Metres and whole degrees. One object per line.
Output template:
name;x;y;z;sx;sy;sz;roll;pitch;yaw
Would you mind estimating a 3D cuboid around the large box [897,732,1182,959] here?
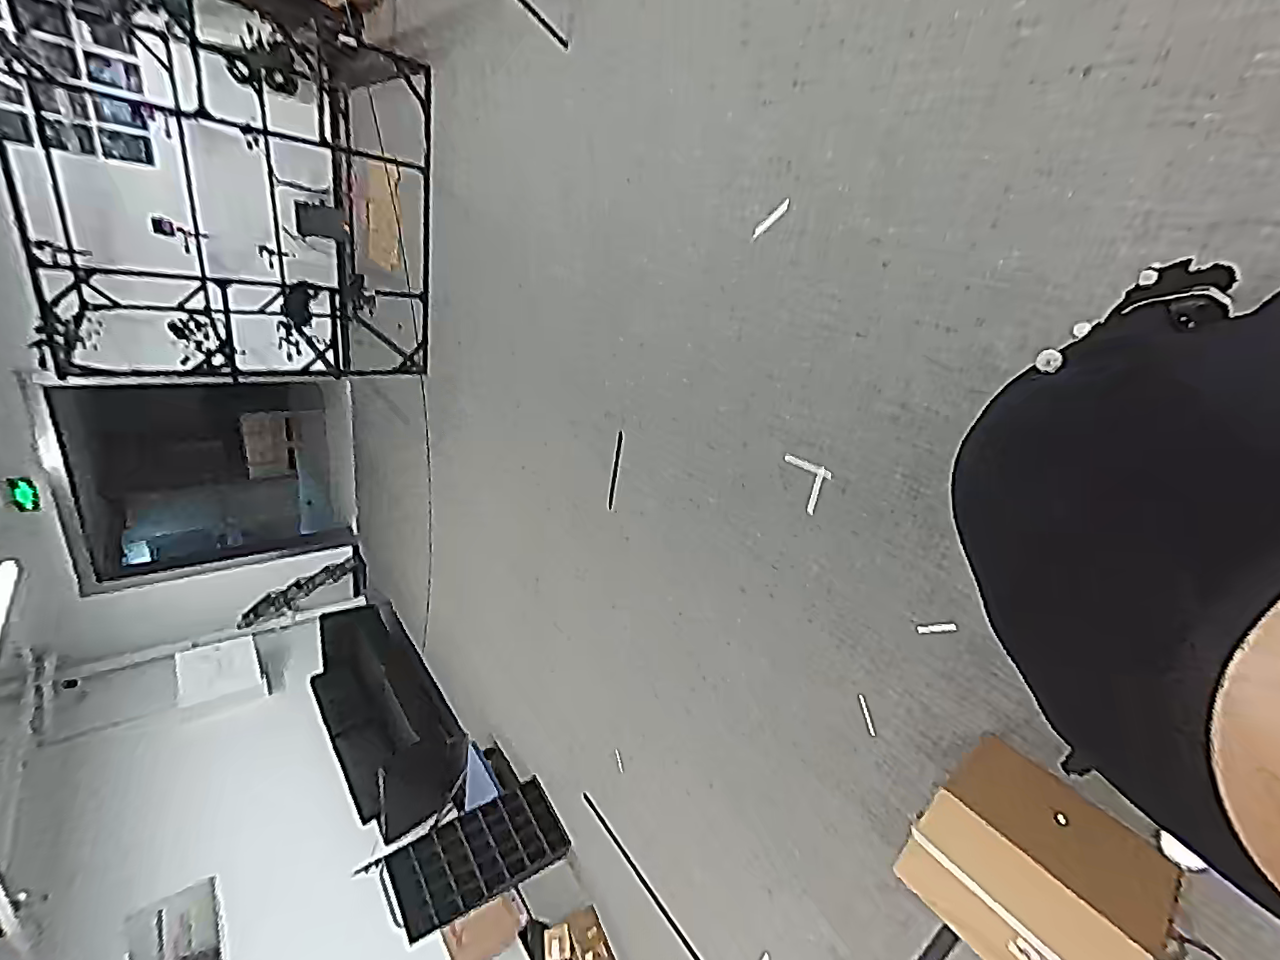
large box;0.896;0.882;1.245;0.408;0.320;0.320;34;122;41
